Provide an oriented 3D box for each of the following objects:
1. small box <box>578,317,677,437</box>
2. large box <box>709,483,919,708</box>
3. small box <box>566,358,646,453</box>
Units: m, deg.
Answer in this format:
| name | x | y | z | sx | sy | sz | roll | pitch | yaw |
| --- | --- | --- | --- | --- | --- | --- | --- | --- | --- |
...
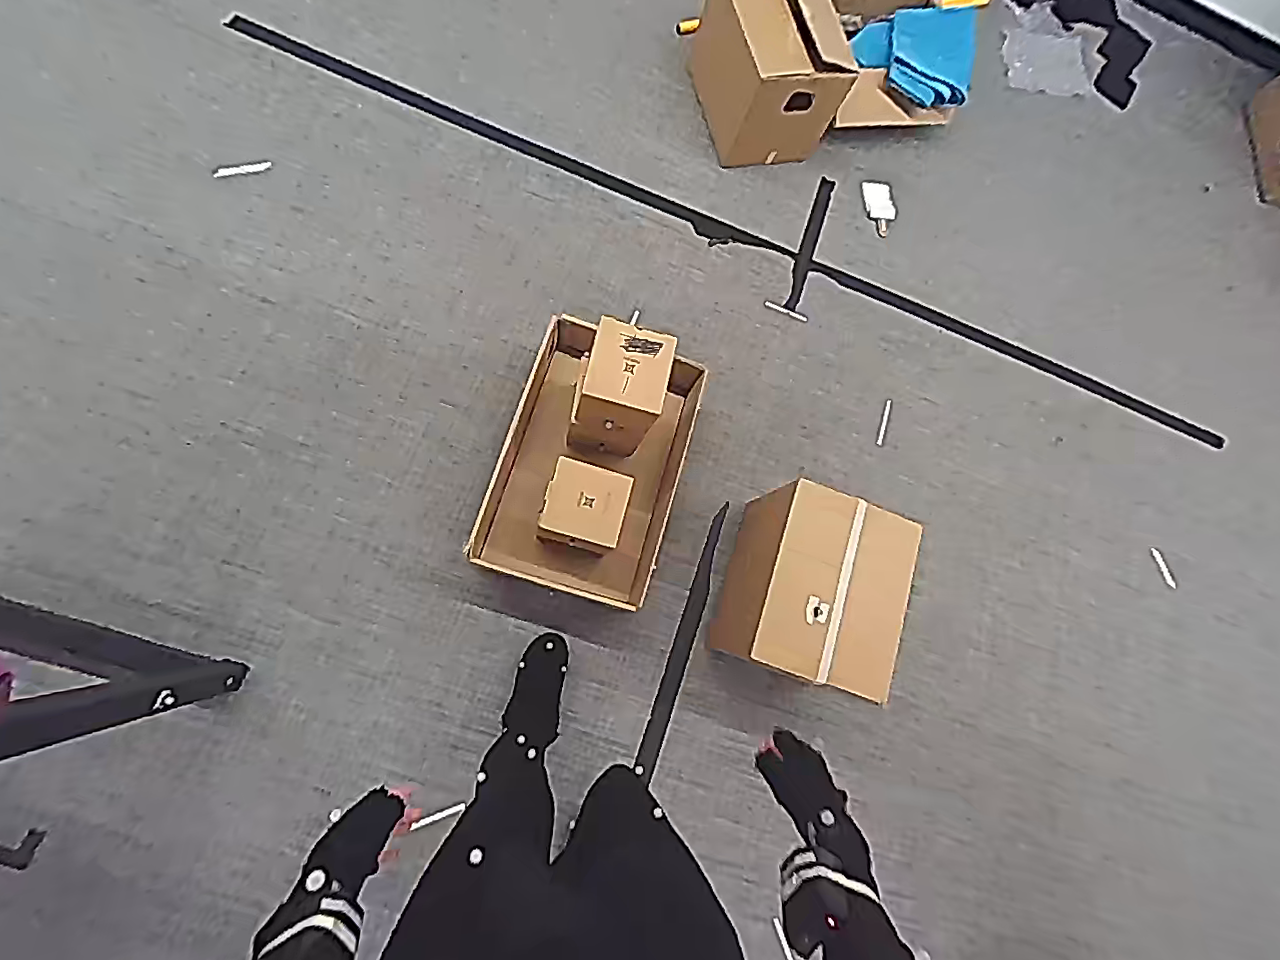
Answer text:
| name | x | y | z | sx | sy | sz | roll | pitch | yaw |
| --- | --- | --- | --- | --- | --- | --- | --- | --- | --- |
| small box | -0.033 | -0.212 | 1.157 | 0.168 | 0.176 | 0.179 | 15 | 77 | -8 |
| large box | 0.397 | 0.264 | 1.286 | 0.320 | 0.320 | 0.408 | 21 | 75 | -5 |
| small box | -0.076 | -0.171 | 1.312 | 0.179 | 0.176 | 0.168 | 11 | 77 | -9 |
